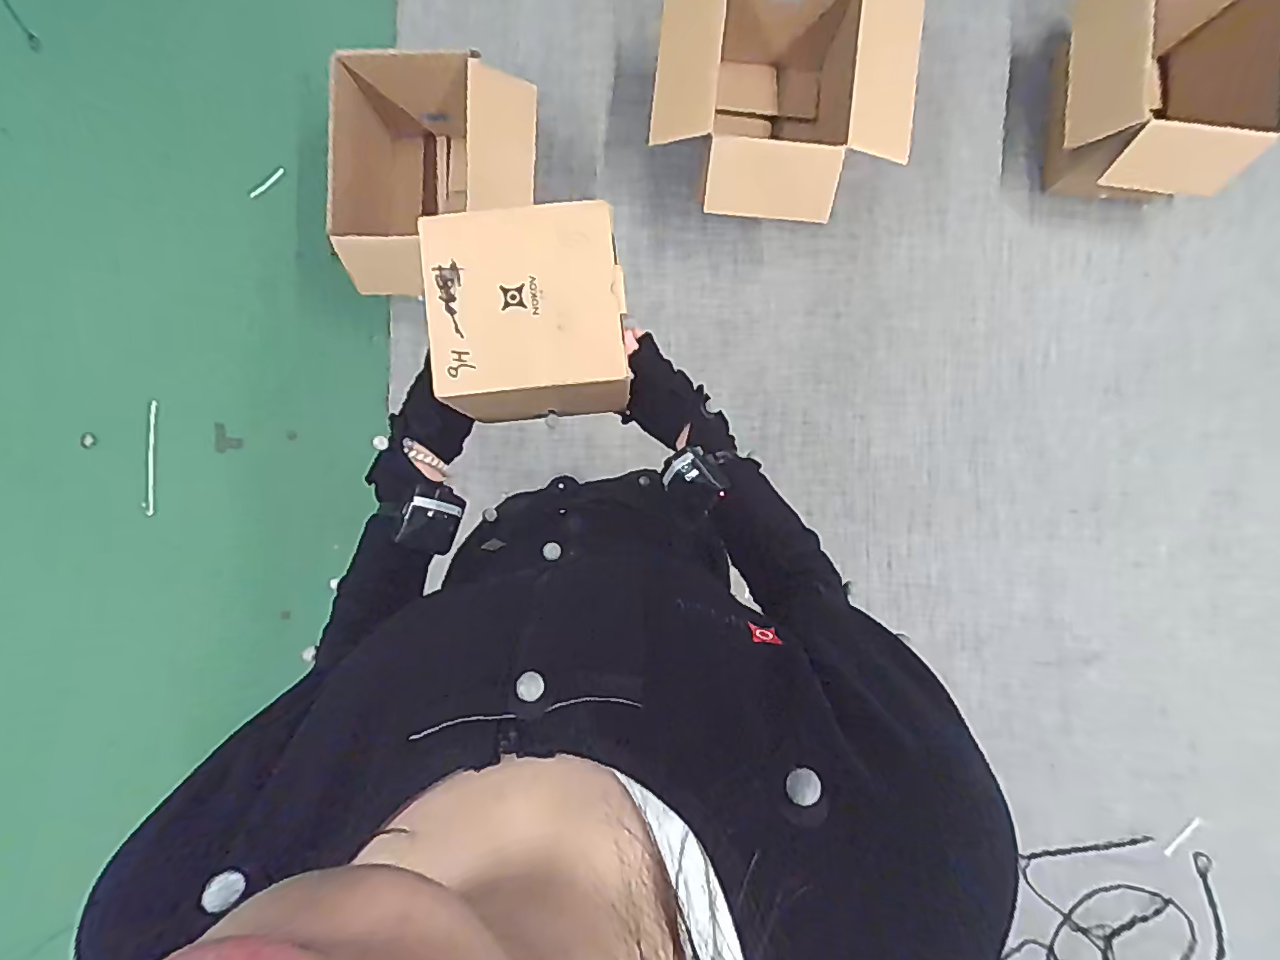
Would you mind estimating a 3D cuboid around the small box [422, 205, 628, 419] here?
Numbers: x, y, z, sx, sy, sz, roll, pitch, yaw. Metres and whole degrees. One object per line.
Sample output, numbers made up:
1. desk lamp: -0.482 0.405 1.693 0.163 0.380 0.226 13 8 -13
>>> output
1. small box: -0.109 -0.162 0.568 0.179 0.176 0.168 -5 87 -3
